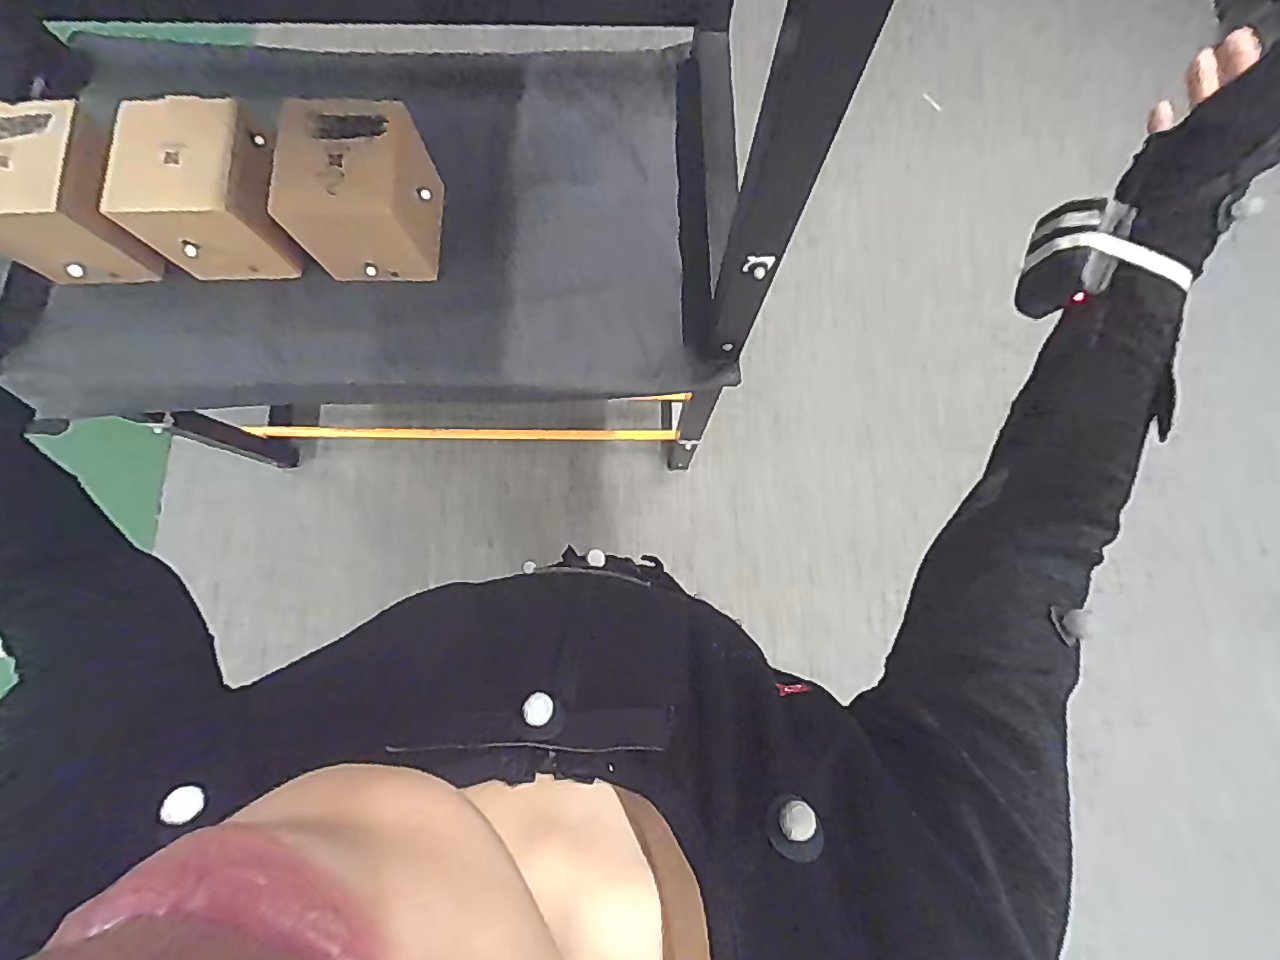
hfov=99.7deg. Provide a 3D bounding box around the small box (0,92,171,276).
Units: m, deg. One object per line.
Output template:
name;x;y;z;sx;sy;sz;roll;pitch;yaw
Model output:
small box;-0.842;-0.424;0.793;0.168;0.176;0.179;-2;80;-1
